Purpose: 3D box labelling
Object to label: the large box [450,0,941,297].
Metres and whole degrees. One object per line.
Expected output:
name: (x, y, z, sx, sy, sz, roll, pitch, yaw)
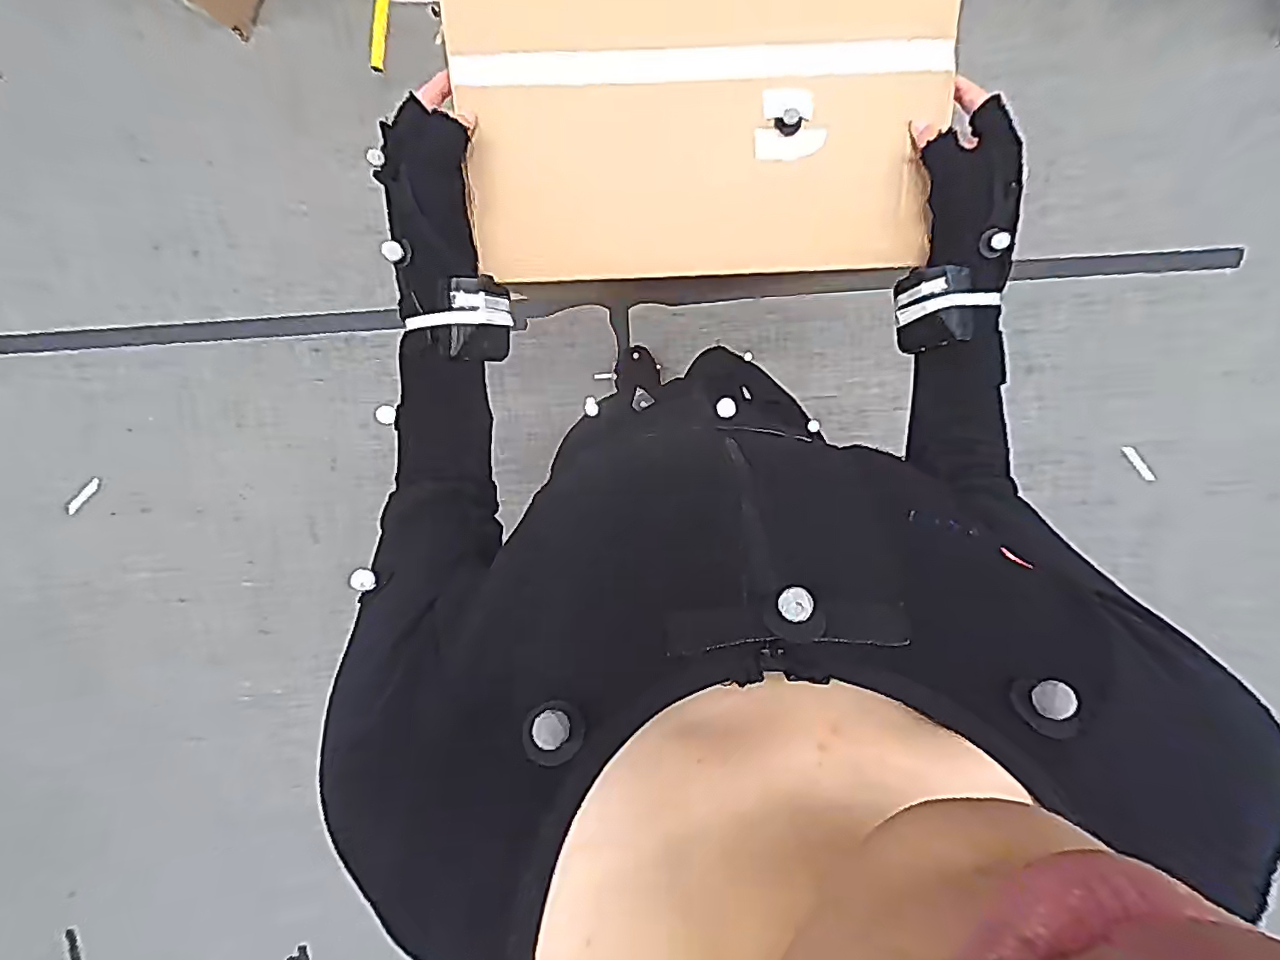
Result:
large box: (0.040, -0.381, 0.588, 0.408, 0.320, 0.320, -3, 106, -2)
